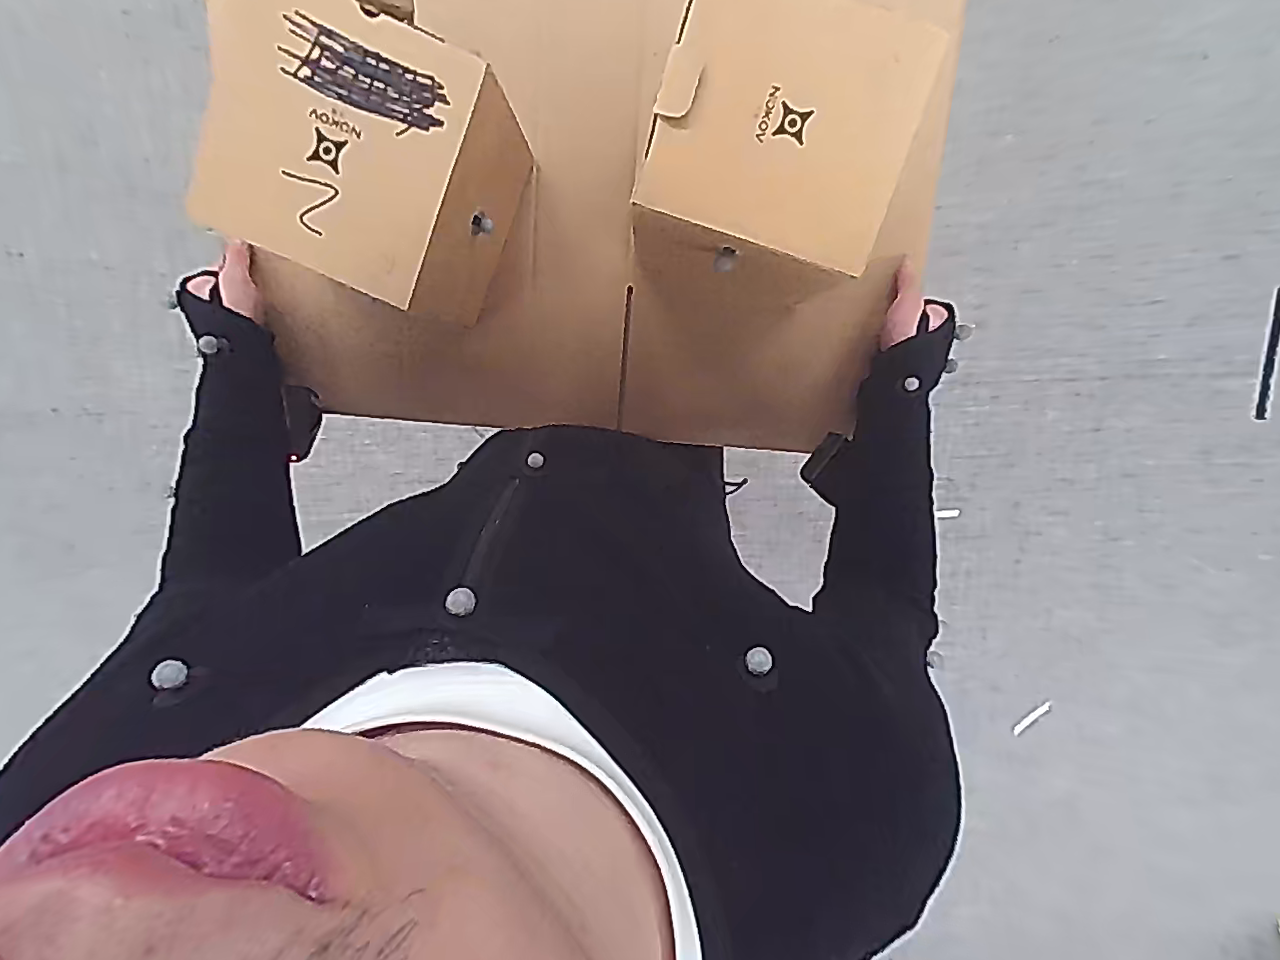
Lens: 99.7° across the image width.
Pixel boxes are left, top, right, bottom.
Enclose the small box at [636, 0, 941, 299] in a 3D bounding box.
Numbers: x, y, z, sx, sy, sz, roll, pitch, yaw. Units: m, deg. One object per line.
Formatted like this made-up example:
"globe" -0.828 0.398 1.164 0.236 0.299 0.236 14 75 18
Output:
"small box" 0.105 -0.265 0.463 0.179 0.176 0.168 17 100 -1
